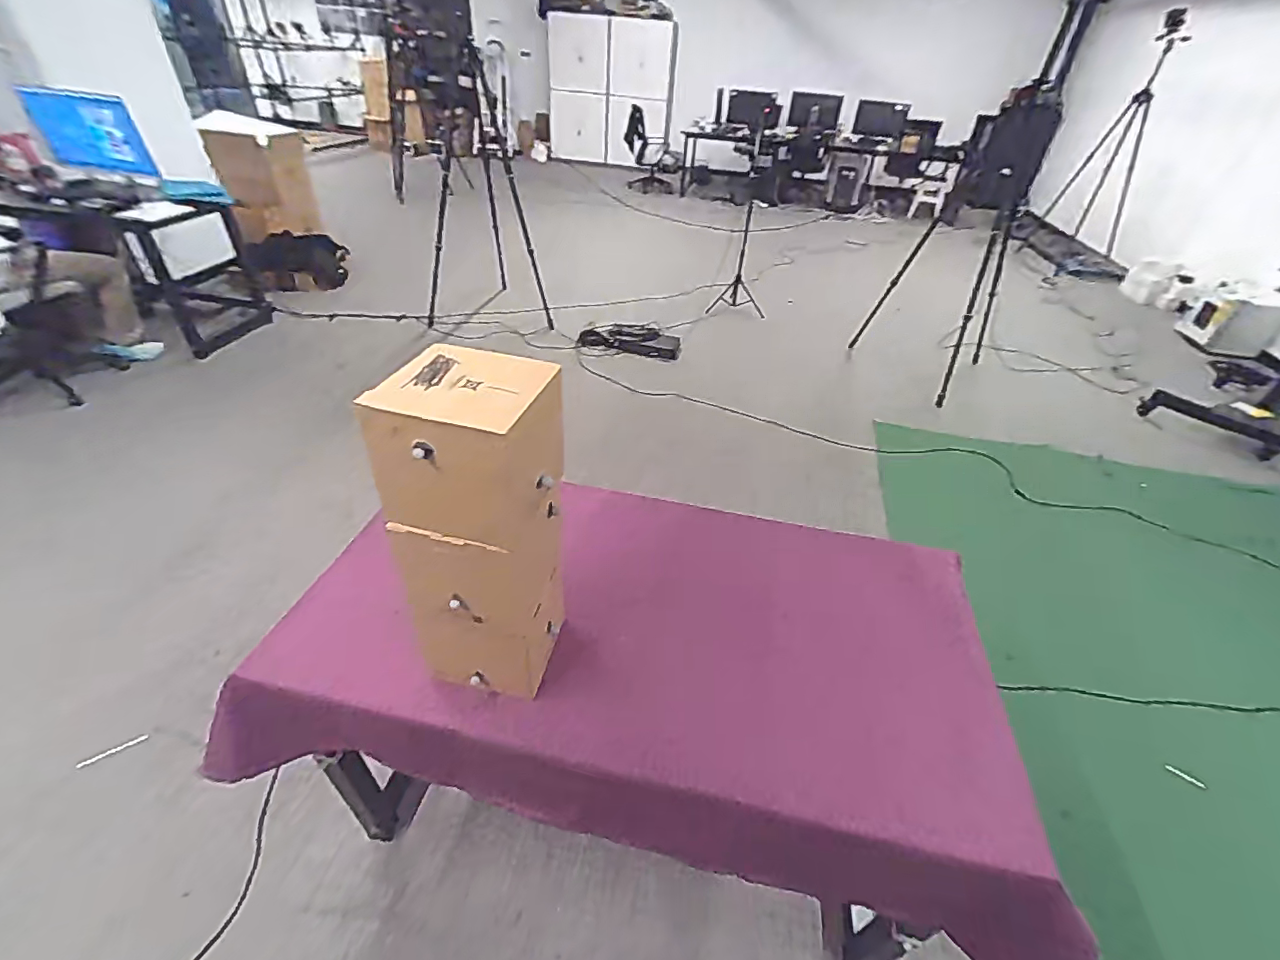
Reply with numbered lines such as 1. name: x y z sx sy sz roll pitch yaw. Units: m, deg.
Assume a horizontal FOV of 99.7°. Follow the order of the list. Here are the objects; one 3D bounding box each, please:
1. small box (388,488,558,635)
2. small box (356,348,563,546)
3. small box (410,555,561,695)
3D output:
1. small box: -0.220 0.087 0.767 0.168 0.176 0.179 10 39 7
2. small box: -0.204 -0.042 0.665 0.179 0.176 0.168 12 39 8
3. small box: -0.233 0.219 0.865 0.179 0.176 0.168 10 38 5
